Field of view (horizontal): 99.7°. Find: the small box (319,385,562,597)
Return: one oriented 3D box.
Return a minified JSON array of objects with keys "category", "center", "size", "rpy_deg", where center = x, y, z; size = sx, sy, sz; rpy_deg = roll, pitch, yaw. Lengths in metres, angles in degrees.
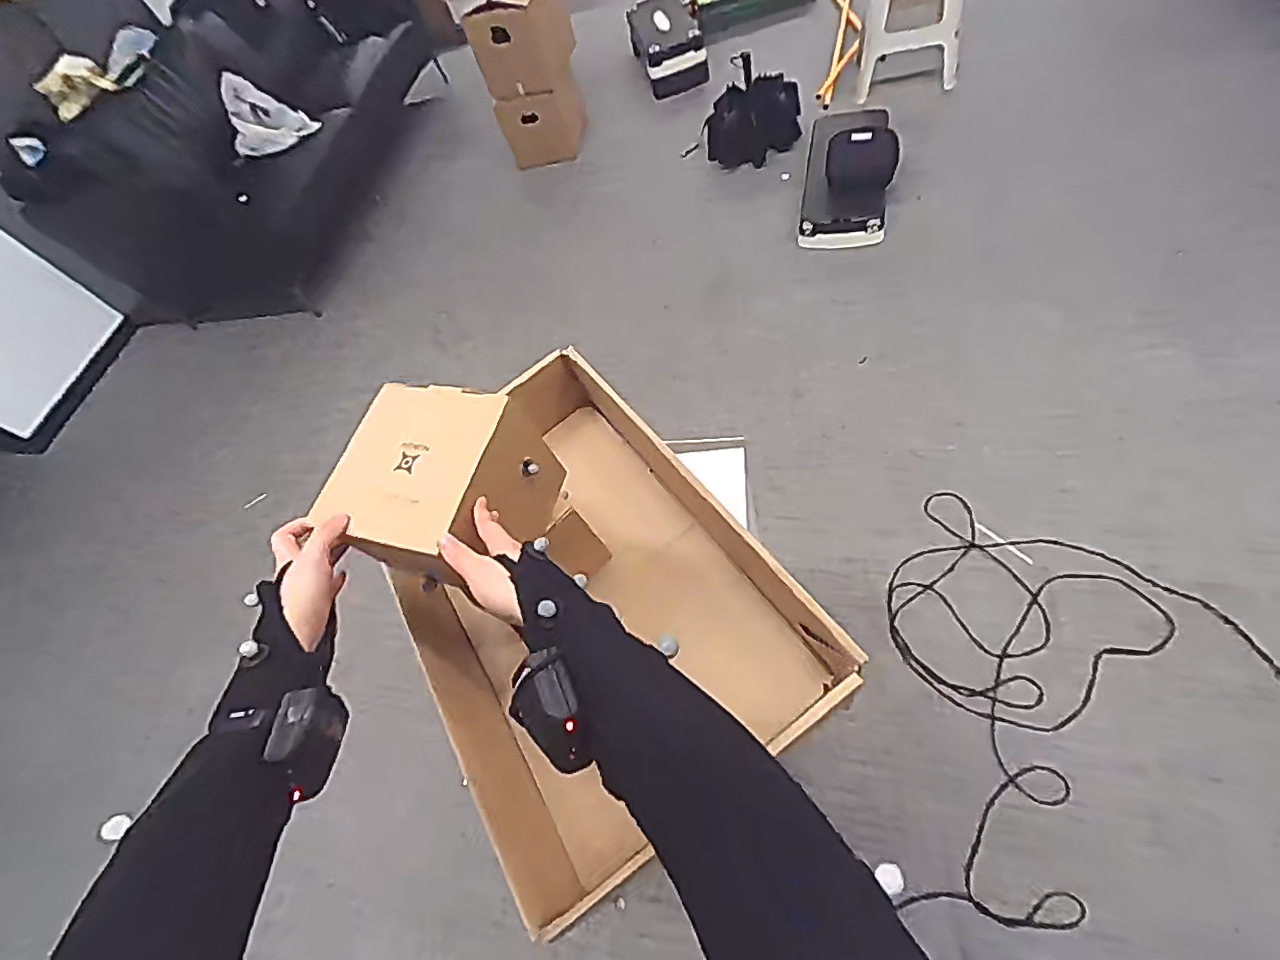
[{"category":"small box","center":[-0.206,0.016,0.617],"size":[0.168,0.176,0.179],"rpy_deg":[7,65,20]}]
